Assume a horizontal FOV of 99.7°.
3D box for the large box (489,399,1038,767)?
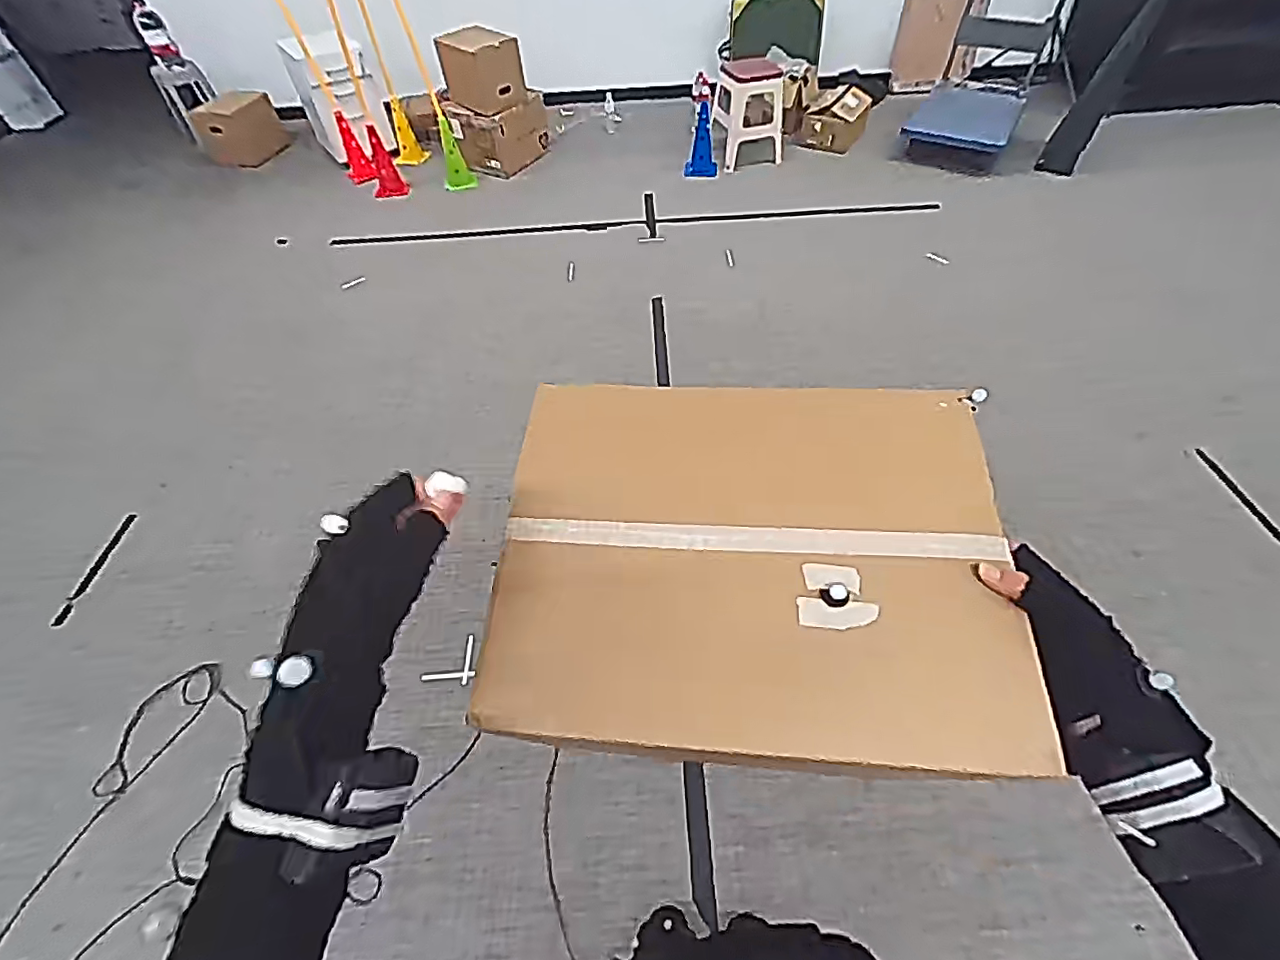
[{"bbox_3d":[0.100,0.126,0.592,0.408,0.320,0.320,1,62,6],"label":"large box"}]
